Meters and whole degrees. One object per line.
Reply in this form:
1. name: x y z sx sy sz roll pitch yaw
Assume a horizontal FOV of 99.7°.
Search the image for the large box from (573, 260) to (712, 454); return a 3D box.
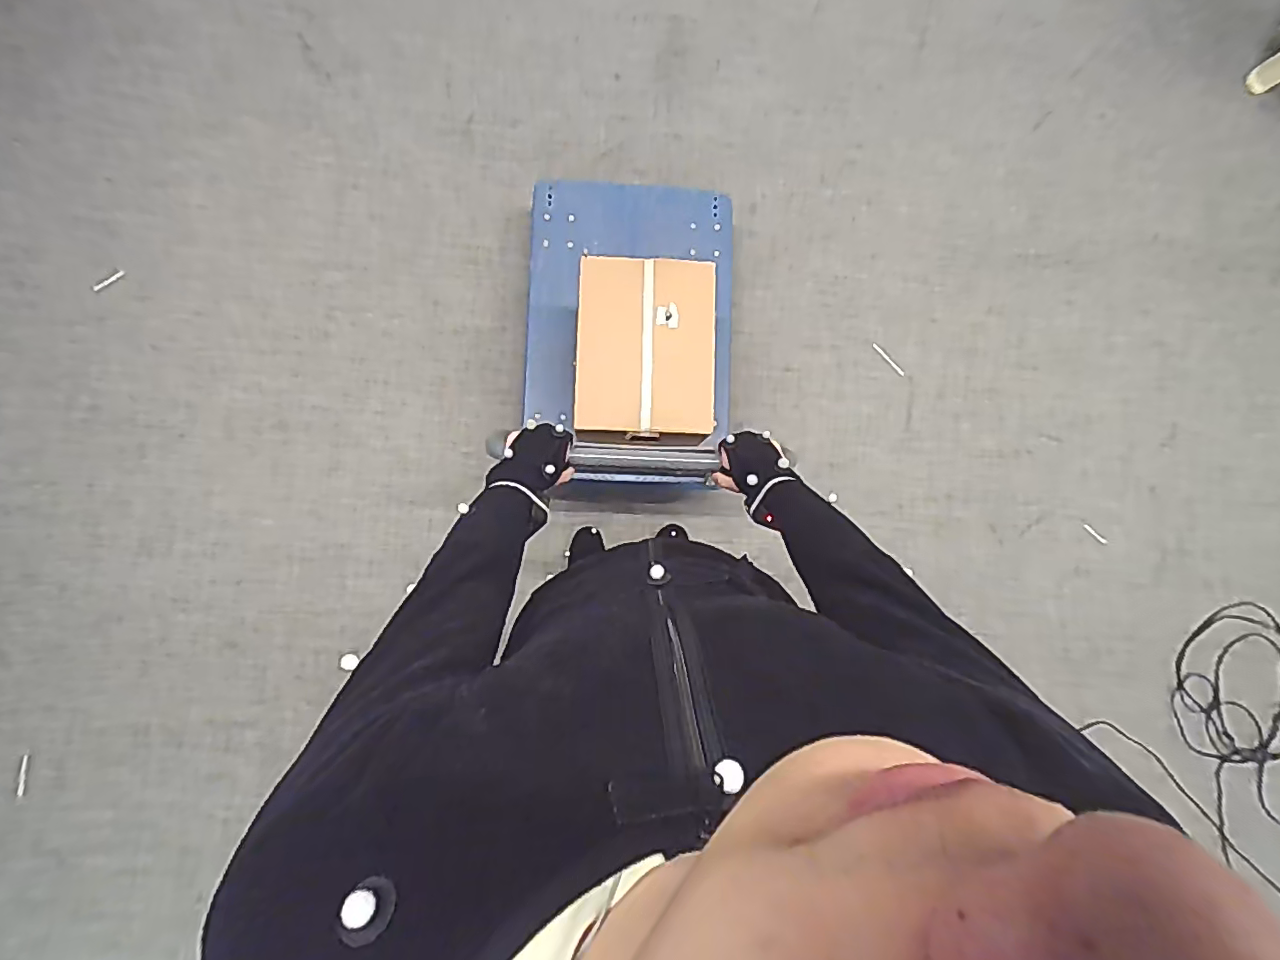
1. large box: -0.001 -0.285 1.366 0.320 0.320 0.408 1 83 -4
